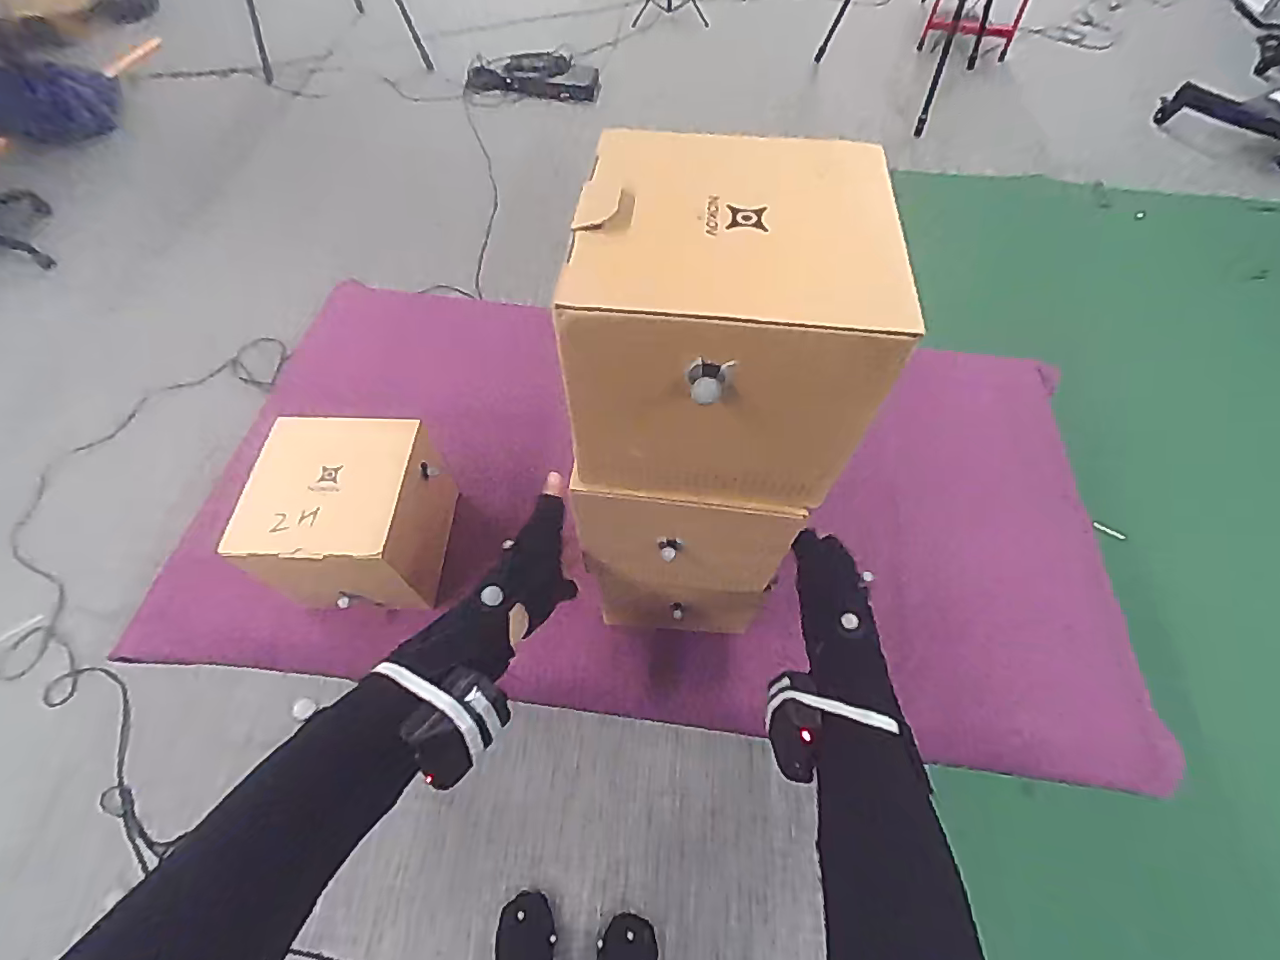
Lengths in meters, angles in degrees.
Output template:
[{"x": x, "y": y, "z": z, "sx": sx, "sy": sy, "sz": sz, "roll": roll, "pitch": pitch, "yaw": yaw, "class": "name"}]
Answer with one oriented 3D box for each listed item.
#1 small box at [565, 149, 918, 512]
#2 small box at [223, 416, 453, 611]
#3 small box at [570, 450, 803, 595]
[{"x": 0.057, "y": -0.091, "z": 0.371, "sx": 0.179, "sy": 0.176, "sz": 0.168, "roll": 6, "pitch": 59, "yaw": 3, "class": "small box"}, {"x": -0.338, "y": 0.045, "z": 0.654, "sx": 0.168, "sy": 0.176, "sz": 0.179, "roll": 2, "pitch": 59, "yaw": -1, "class": "small box"}, {"x": 0.043, "y": -0.002, "z": 0.507, "sx": 0.179, "sy": 0.176, "sz": 0.168, "roll": 7, "pitch": 59, "yaw": 3, "class": "small box"}]
